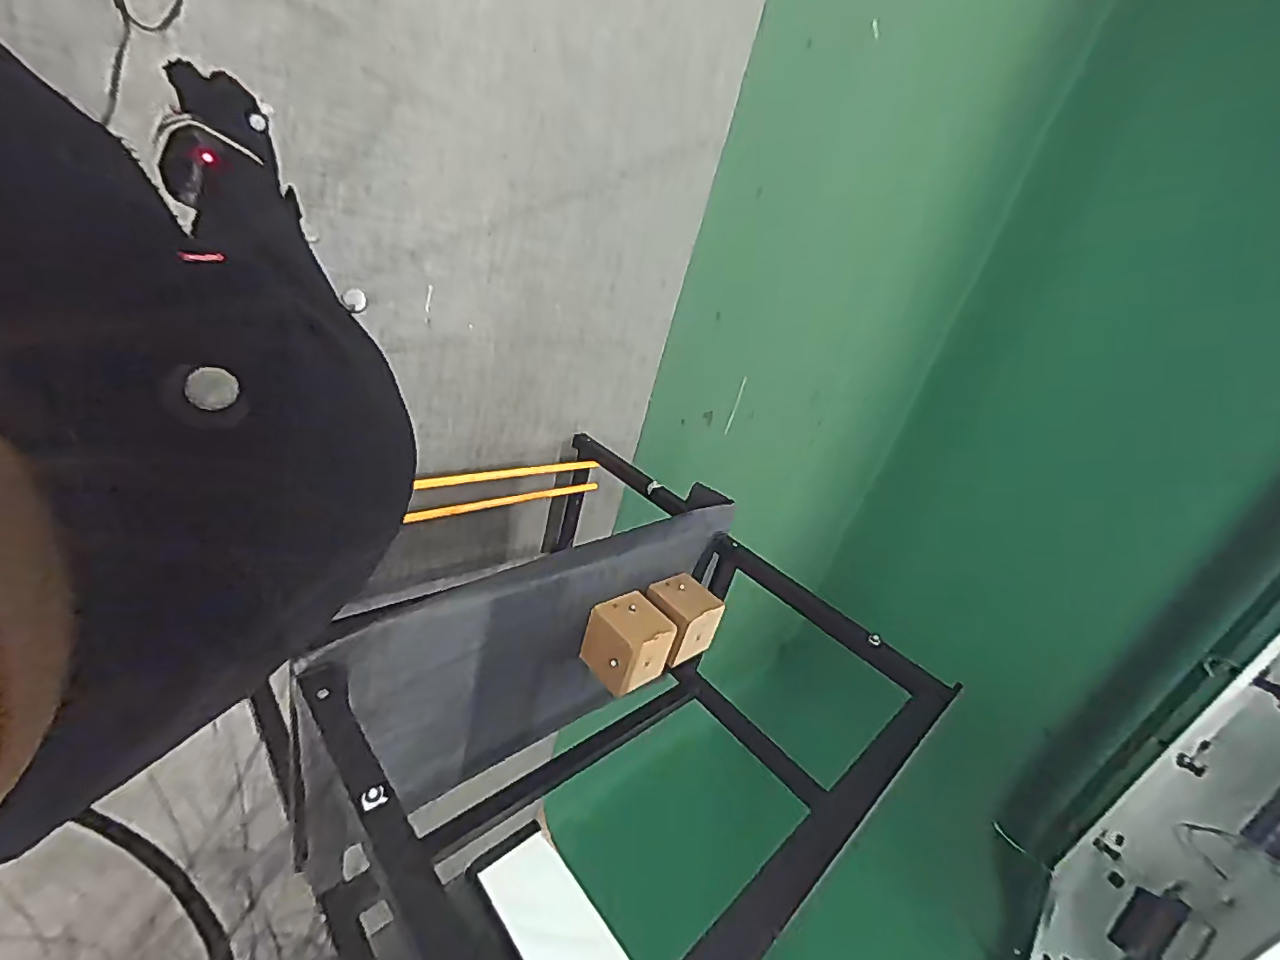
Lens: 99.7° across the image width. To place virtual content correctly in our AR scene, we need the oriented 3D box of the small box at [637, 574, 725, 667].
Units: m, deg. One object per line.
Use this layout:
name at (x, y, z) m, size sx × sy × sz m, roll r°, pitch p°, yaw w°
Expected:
small box at (0.113, 0.403, 1.576) m, size 0.168 × 0.176 × 0.179 m, roll -10°, pitch 125°, yaw -45°
